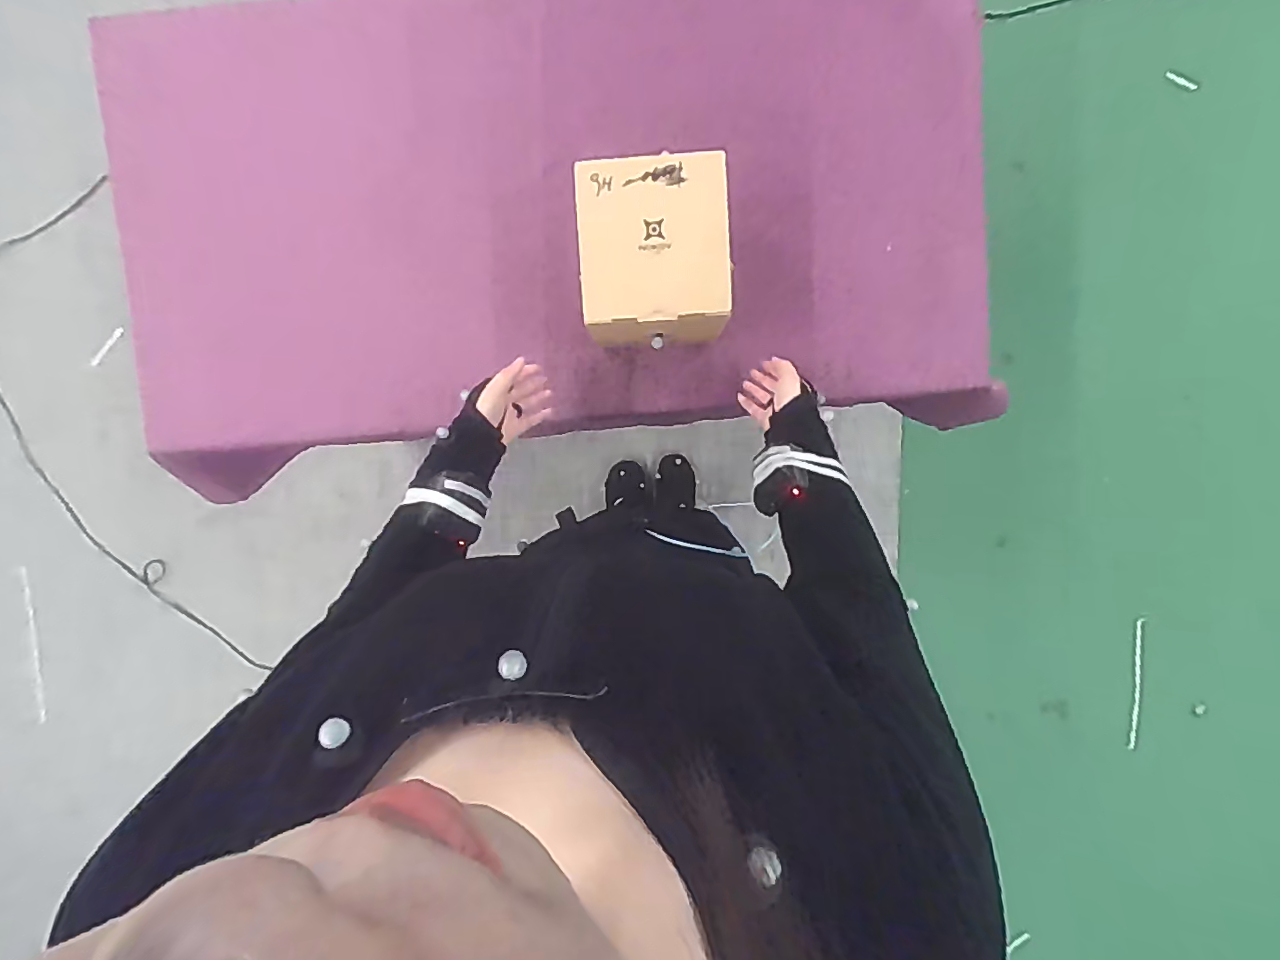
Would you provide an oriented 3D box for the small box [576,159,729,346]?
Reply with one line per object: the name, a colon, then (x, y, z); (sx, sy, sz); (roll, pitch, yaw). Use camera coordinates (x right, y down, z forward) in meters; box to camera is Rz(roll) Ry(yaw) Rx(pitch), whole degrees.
small box: (0.018, -0.265, 0.672); (0.168, 0.176, 0.179); (-3, 95, 2)
